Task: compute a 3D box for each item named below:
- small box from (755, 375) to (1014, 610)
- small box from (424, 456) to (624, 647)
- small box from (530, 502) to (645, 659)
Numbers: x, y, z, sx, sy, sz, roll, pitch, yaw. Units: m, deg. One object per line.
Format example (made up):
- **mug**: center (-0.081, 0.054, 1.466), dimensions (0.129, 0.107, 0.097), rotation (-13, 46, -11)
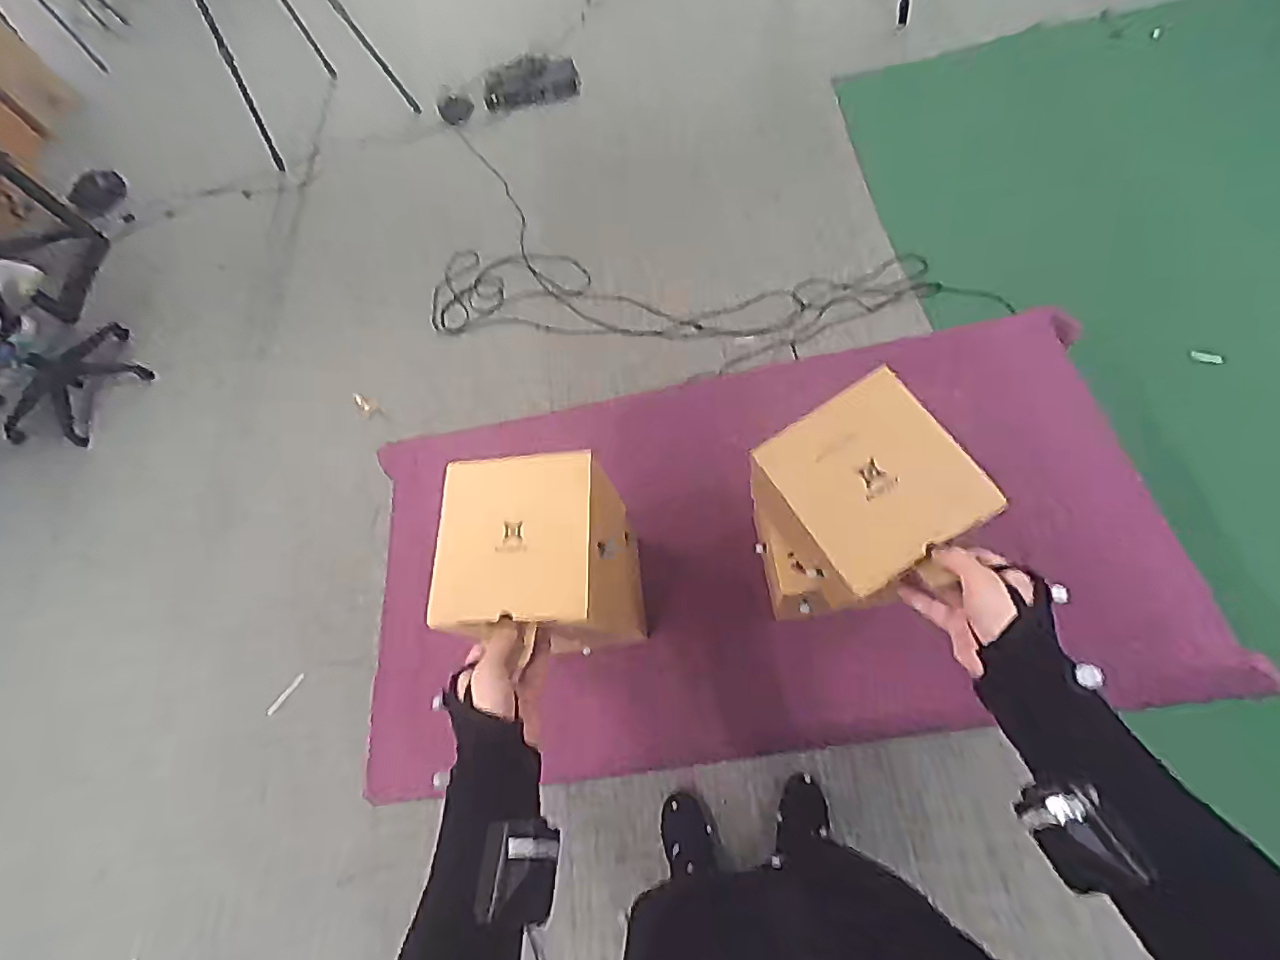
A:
- **small box**: center (0.241, 0.026, 0.586), dimensions (0.168, 0.176, 0.179), rotation (-32, 70, 0)
- **small box**: center (-0.115, 0.090, 0.611), dimensions (0.168, 0.176, 0.179), rotation (-5, 68, 9)
- **small box**: center (-0.091, 0.153, 0.794), dimensions (0.168, 0.176, 0.179), rotation (-9, 63, 7)
